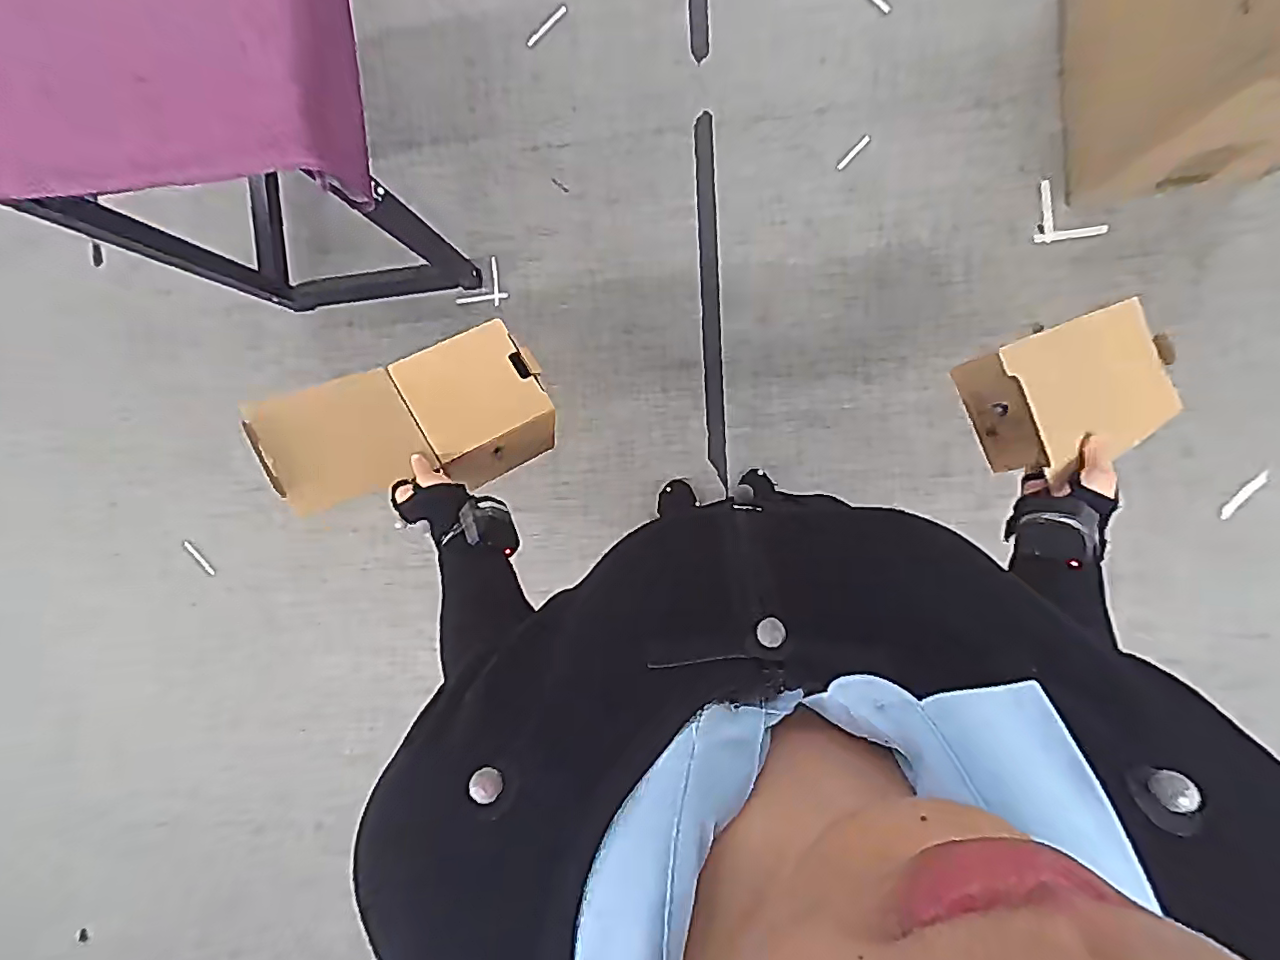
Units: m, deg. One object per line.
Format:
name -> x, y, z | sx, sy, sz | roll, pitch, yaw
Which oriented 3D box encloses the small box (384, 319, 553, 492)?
small box -> -0.247, -0.102, 0.811 | 0.179, 0.176, 0.168 | -29, 83, -18
